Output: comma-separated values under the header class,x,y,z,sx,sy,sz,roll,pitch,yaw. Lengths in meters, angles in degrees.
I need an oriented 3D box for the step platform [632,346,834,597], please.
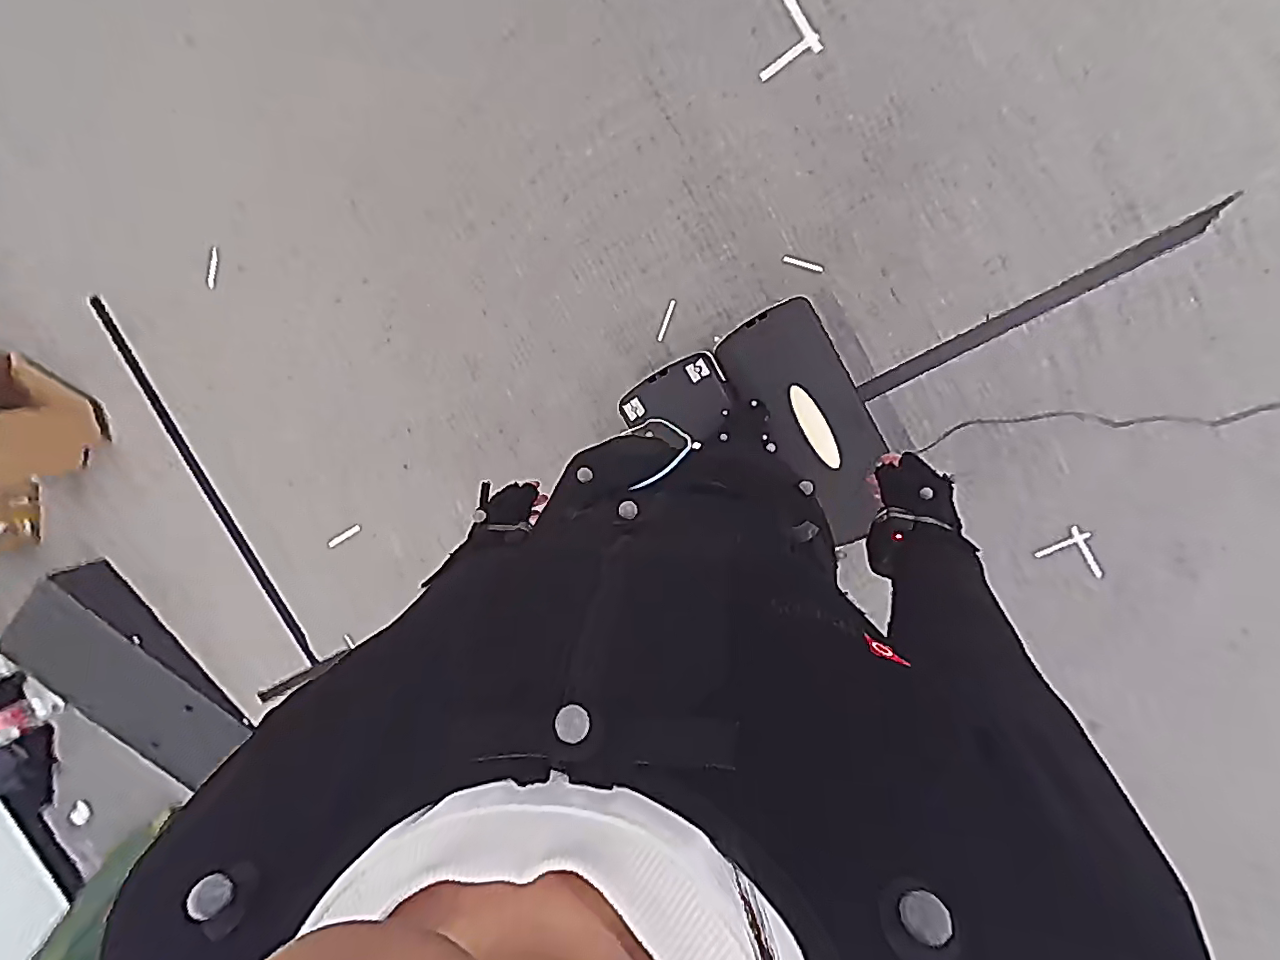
class,x,y,z,sx,sy,sz,roll,pitch,yaw
step platform,0.257,-0.021,1.504,0.286,0.204,0.684,-30,92,15
